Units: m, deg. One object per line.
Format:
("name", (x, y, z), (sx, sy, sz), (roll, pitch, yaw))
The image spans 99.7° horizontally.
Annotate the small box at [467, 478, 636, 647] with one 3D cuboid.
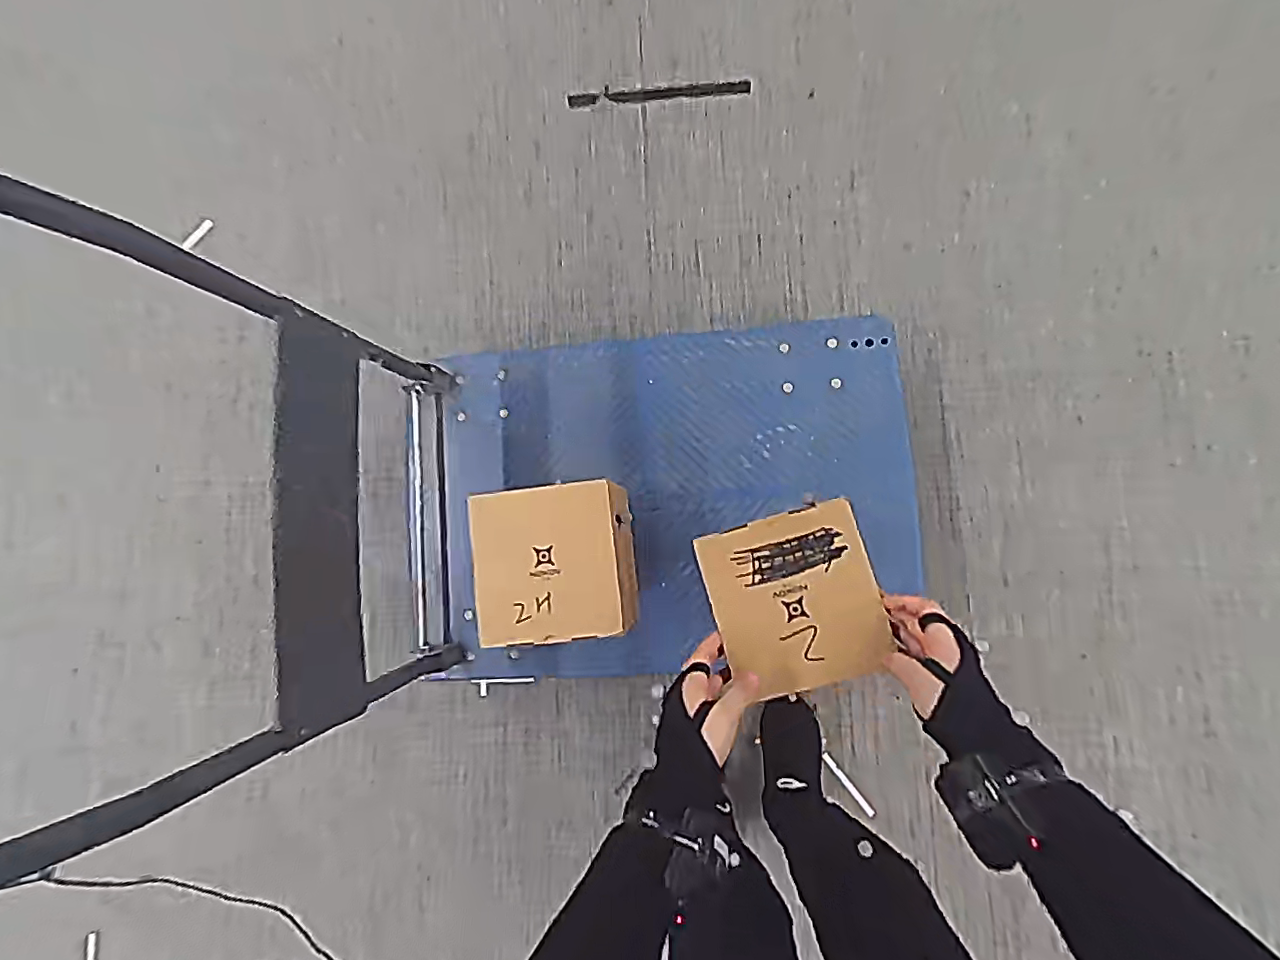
("small box", (-0.101, 0.099, 0.680), (0.168, 0.176, 0.179), (-7, 85, 6))
